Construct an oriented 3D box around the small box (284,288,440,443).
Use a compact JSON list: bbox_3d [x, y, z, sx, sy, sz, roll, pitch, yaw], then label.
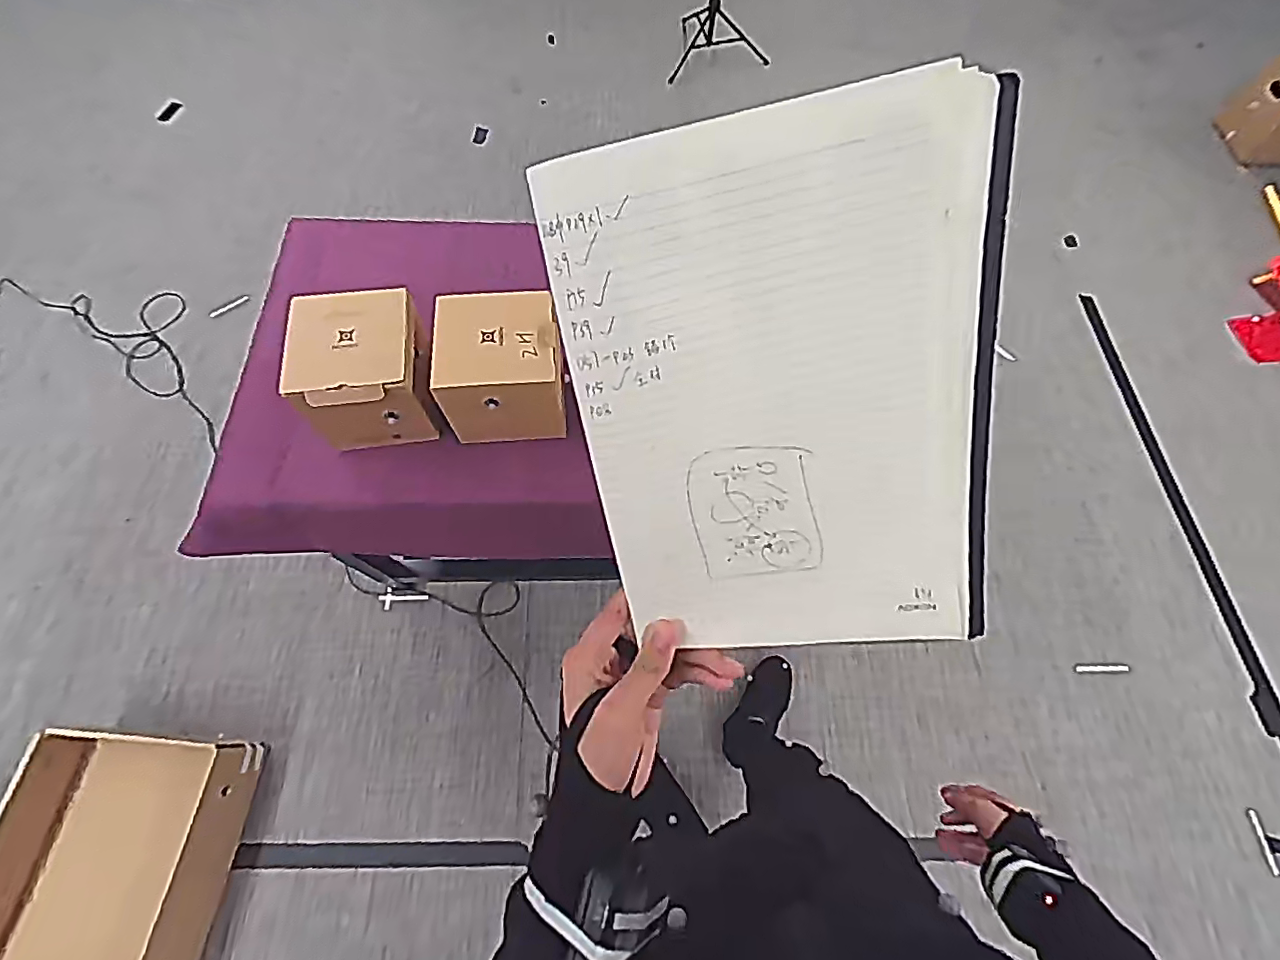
[{"bbox_3d":[-0.419,-0.168,0.845,0.168,0.176,0.179,-7,67,-6],"label":"small box"}]
